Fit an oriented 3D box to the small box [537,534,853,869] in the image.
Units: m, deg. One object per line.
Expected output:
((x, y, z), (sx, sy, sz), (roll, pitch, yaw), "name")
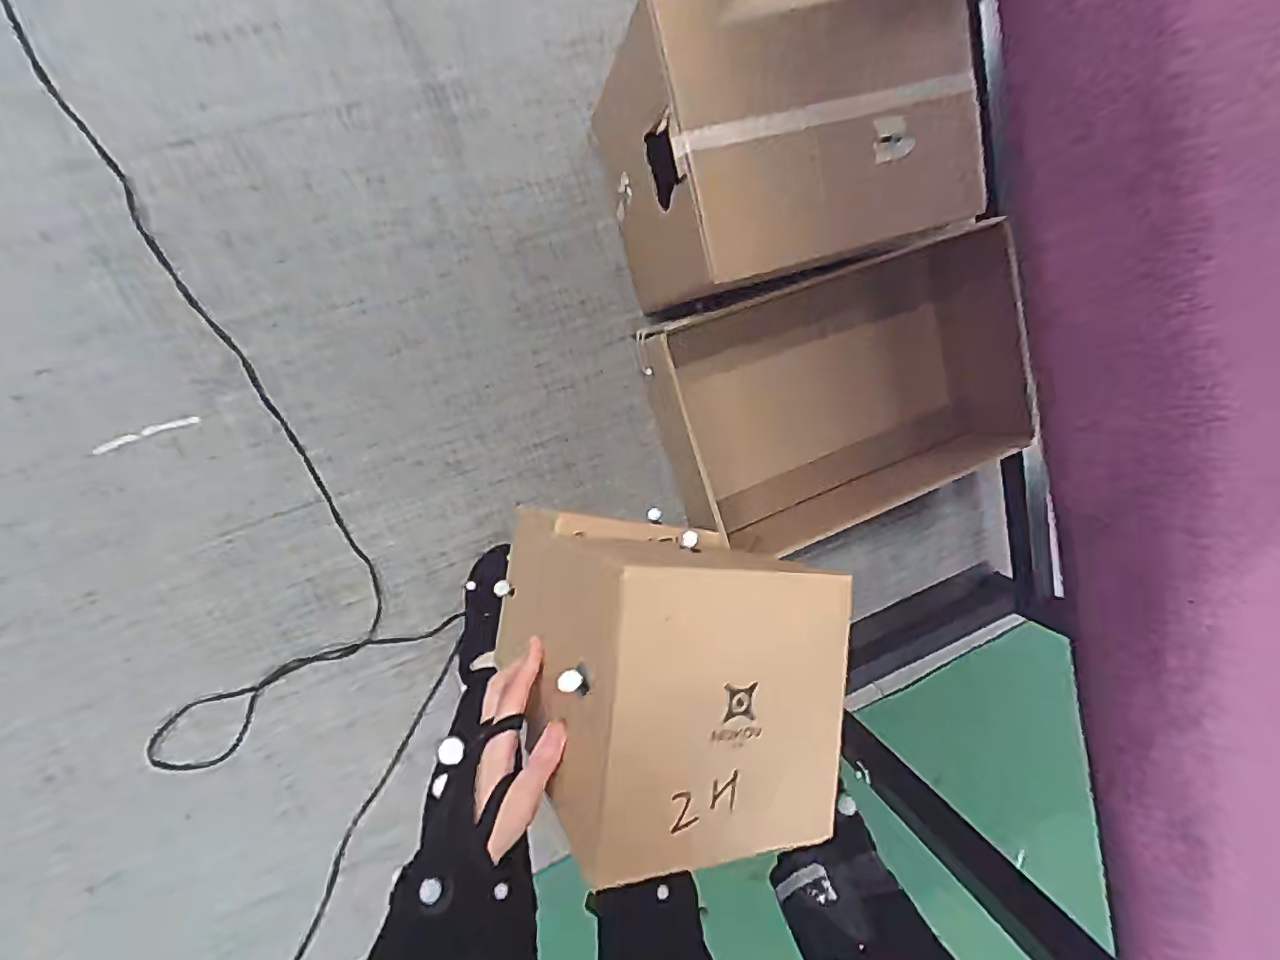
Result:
((0.028, 0.136, 0.399), (0.168, 0.176, 0.179), (8, 86, -23), "small box")

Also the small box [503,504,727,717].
((-0.036, 0.125, 0.553), (0.168, 0.176, 0.179), (11, 85, -24), "small box")
